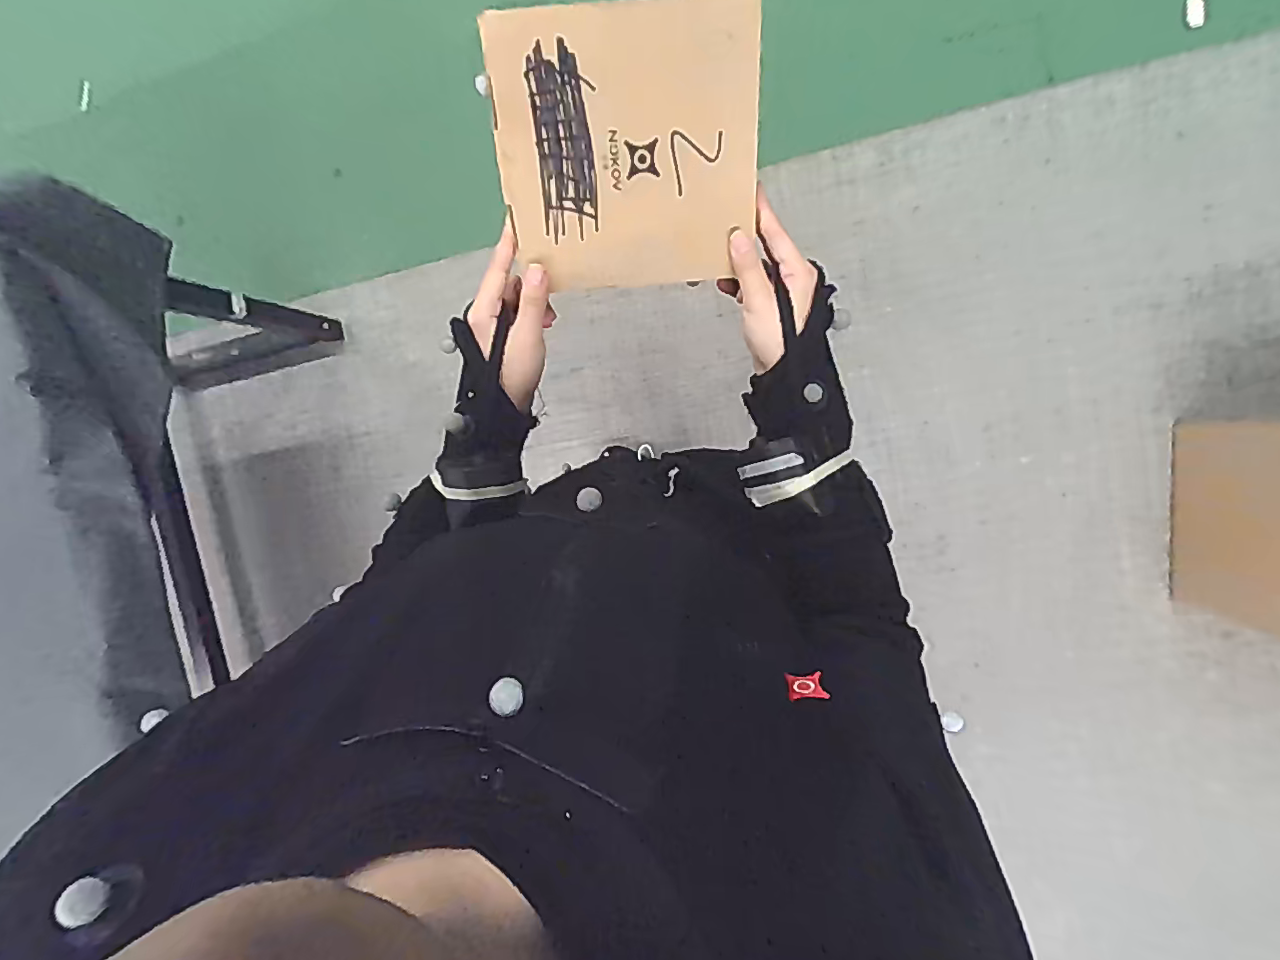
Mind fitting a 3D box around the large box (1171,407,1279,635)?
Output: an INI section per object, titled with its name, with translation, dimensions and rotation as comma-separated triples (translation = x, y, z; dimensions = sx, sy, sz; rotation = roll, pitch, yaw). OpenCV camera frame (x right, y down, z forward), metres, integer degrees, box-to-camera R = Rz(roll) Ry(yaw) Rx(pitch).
[large box]
translation = 1.300, 0.064, 1.024
dimensions = 0.320, 0.320, 0.408
rotation = -5, 96, 10
